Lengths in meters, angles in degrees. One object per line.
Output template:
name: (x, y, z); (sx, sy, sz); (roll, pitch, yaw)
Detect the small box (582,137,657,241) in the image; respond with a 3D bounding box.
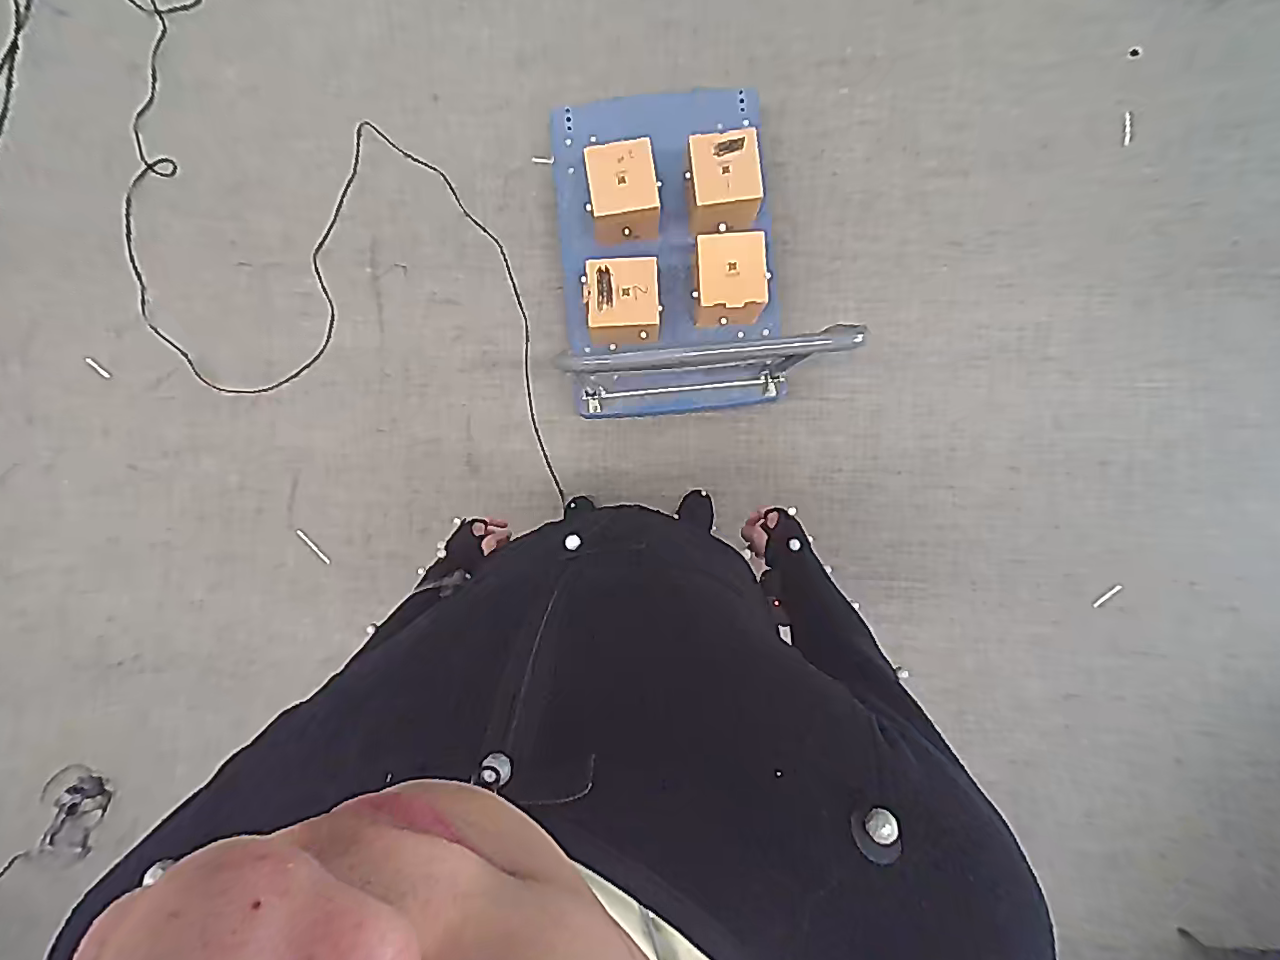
small box: (-0.047, -0.736, 1.390); (0.168, 0.176, 0.179); (-9, 90, 0)

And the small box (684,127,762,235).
small box: (0.207, -0.760, 1.386); (0.168, 0.176, 0.179); (-7, 90, 1)

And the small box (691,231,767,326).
small box: (0.222, -0.511, 1.388); (0.168, 0.176, 0.179); (-3, 89, 1)
